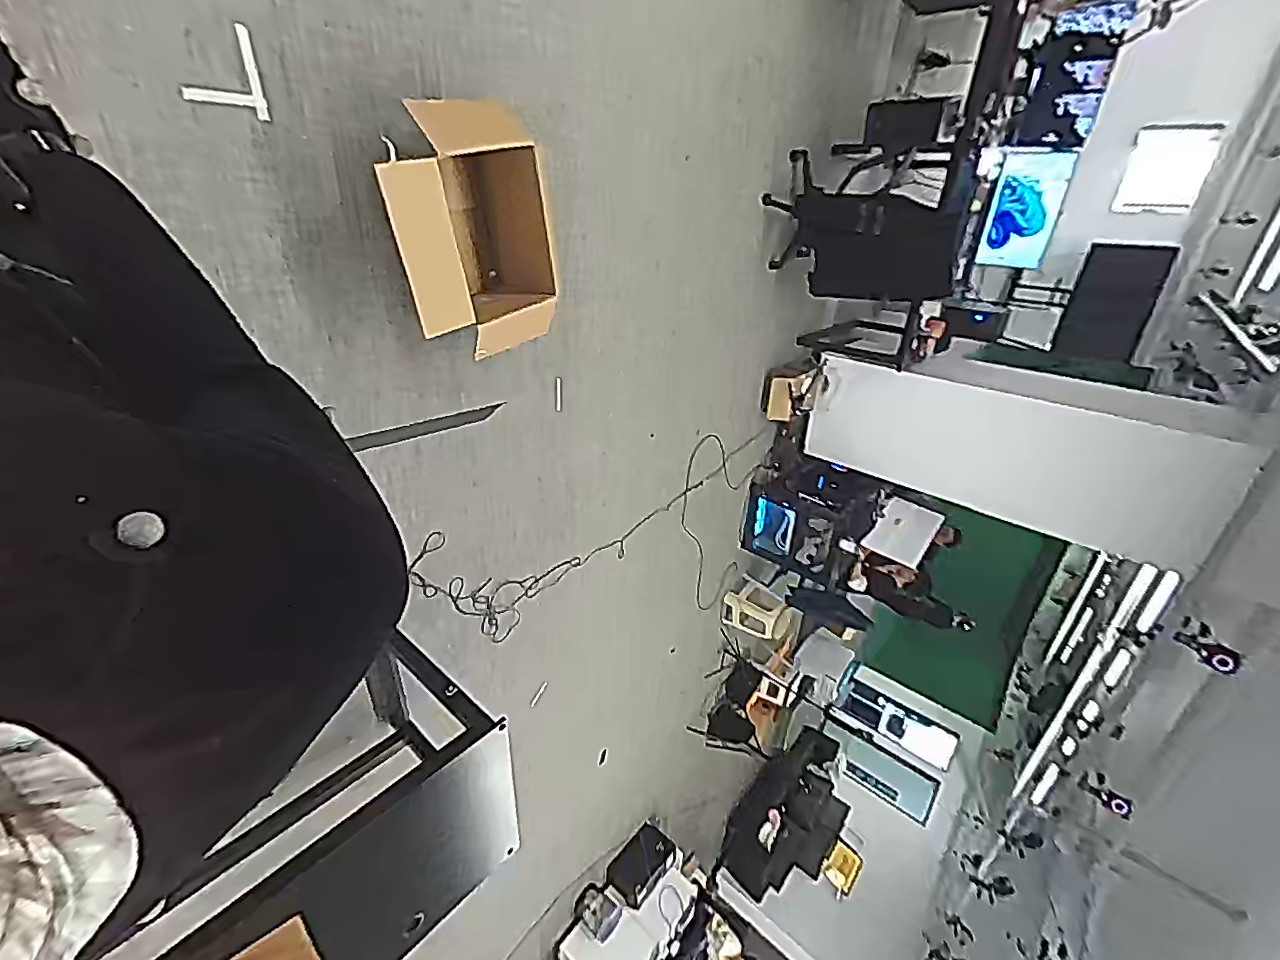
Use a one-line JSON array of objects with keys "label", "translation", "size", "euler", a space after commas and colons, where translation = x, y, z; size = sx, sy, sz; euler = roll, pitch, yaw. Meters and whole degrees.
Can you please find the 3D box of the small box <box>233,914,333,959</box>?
[{"label": "small box", "translation": [-0.726, 1.036, 1.072], "size": [0.179, 0.176, 0.168], "euler": [-10, 118, -52]}]
